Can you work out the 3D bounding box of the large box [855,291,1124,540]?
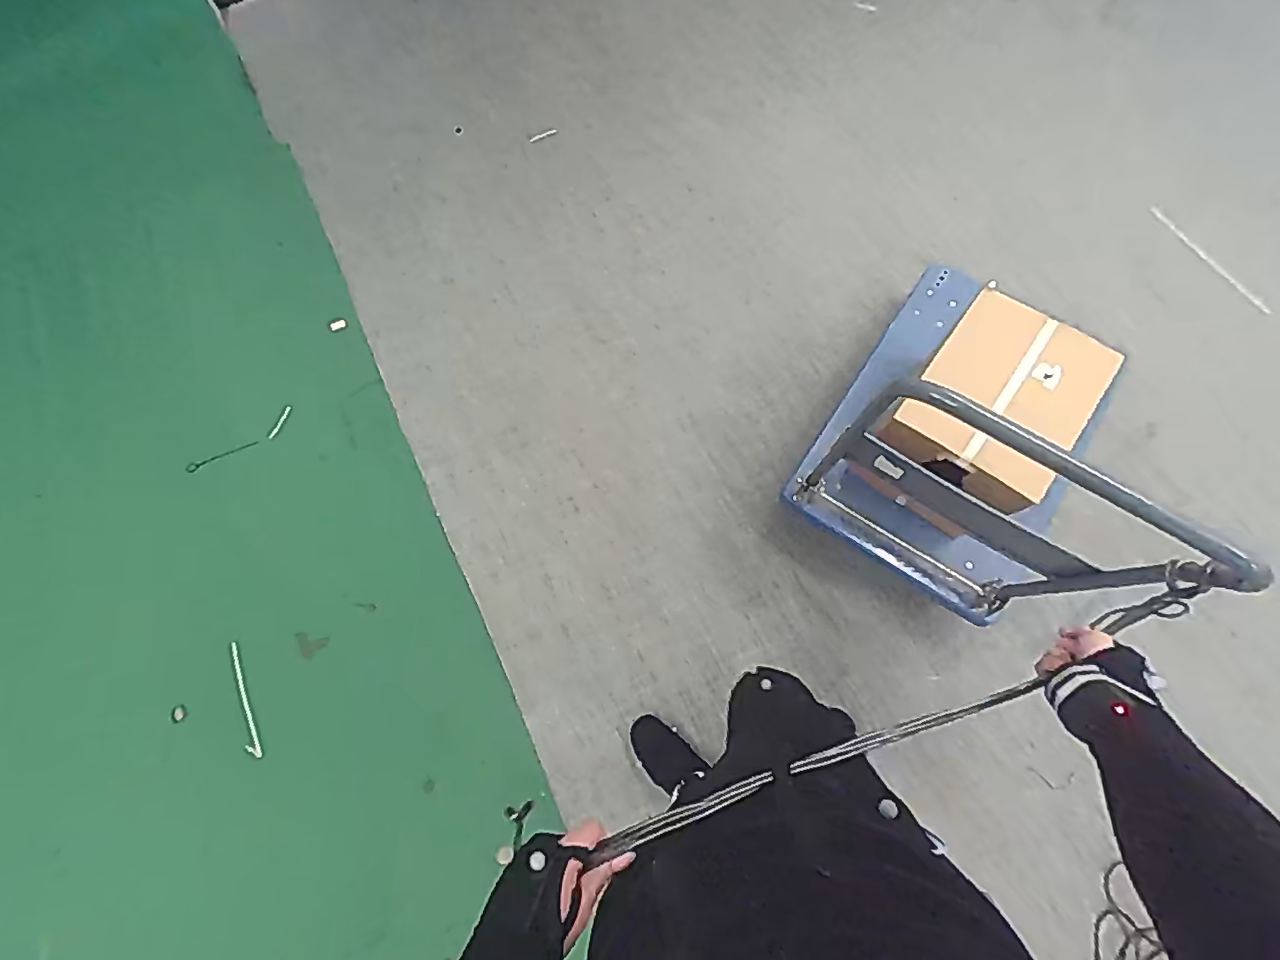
[{"bbox_3d":[0.768,-0.132,1.243,0.320,0.320,0.408,36,76,13],"label":"large box"}]
